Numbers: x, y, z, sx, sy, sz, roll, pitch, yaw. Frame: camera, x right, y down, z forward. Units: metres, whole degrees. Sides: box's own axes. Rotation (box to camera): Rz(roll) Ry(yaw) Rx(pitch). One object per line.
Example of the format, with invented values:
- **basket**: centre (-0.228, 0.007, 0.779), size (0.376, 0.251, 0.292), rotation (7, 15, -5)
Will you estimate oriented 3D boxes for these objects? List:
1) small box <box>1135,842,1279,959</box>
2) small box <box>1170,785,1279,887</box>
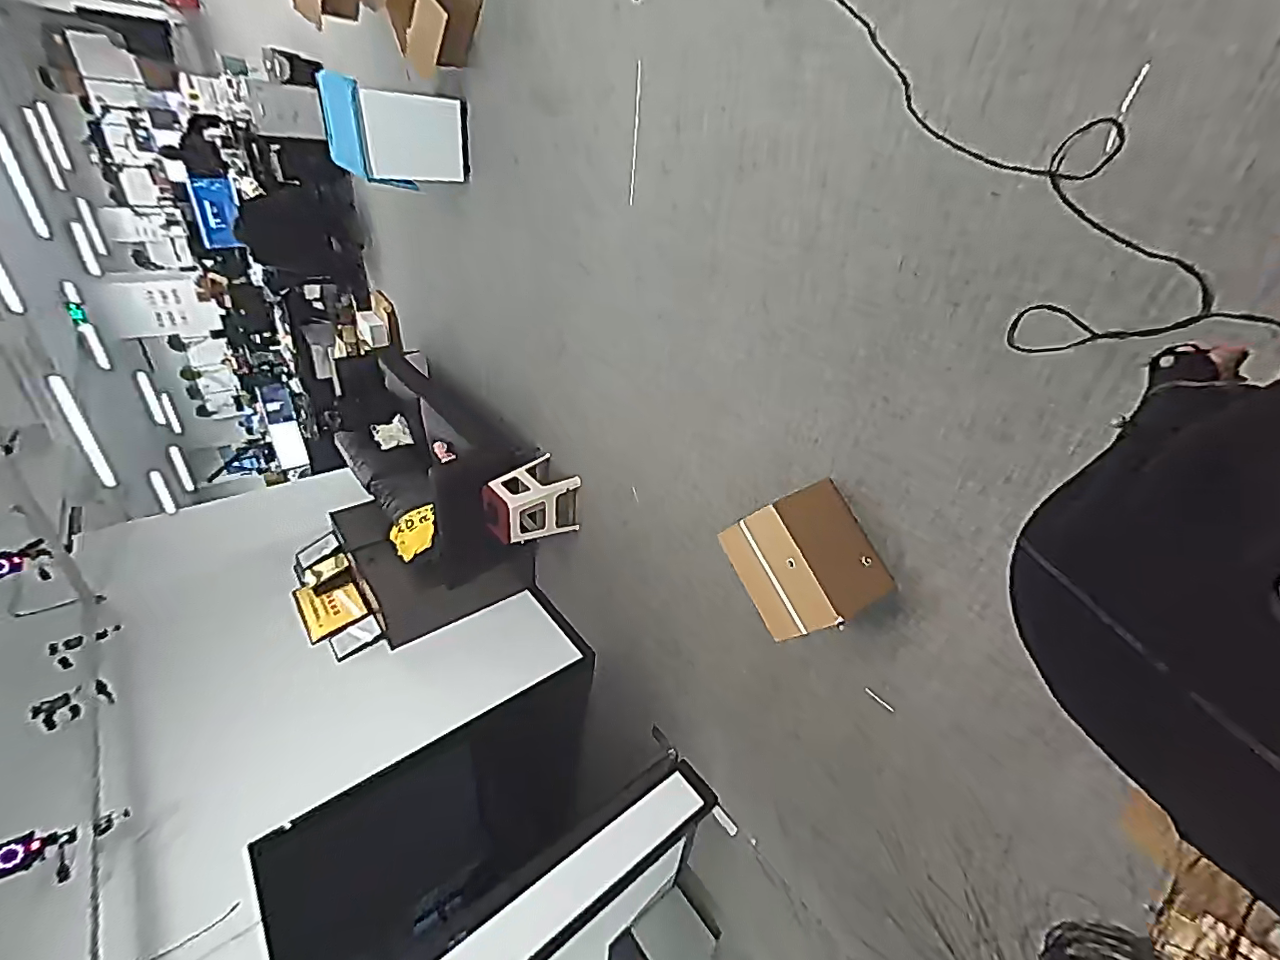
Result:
- **small box**: centre (0.914, 0.712, 0.828), size (0.168, 0.176, 0.179), rotation (29, 127, 45)
- **small box**: centre (1.048, 0.667, 0.911), size (0.179, 0.176, 0.168), rotation (27, 126, 46)
